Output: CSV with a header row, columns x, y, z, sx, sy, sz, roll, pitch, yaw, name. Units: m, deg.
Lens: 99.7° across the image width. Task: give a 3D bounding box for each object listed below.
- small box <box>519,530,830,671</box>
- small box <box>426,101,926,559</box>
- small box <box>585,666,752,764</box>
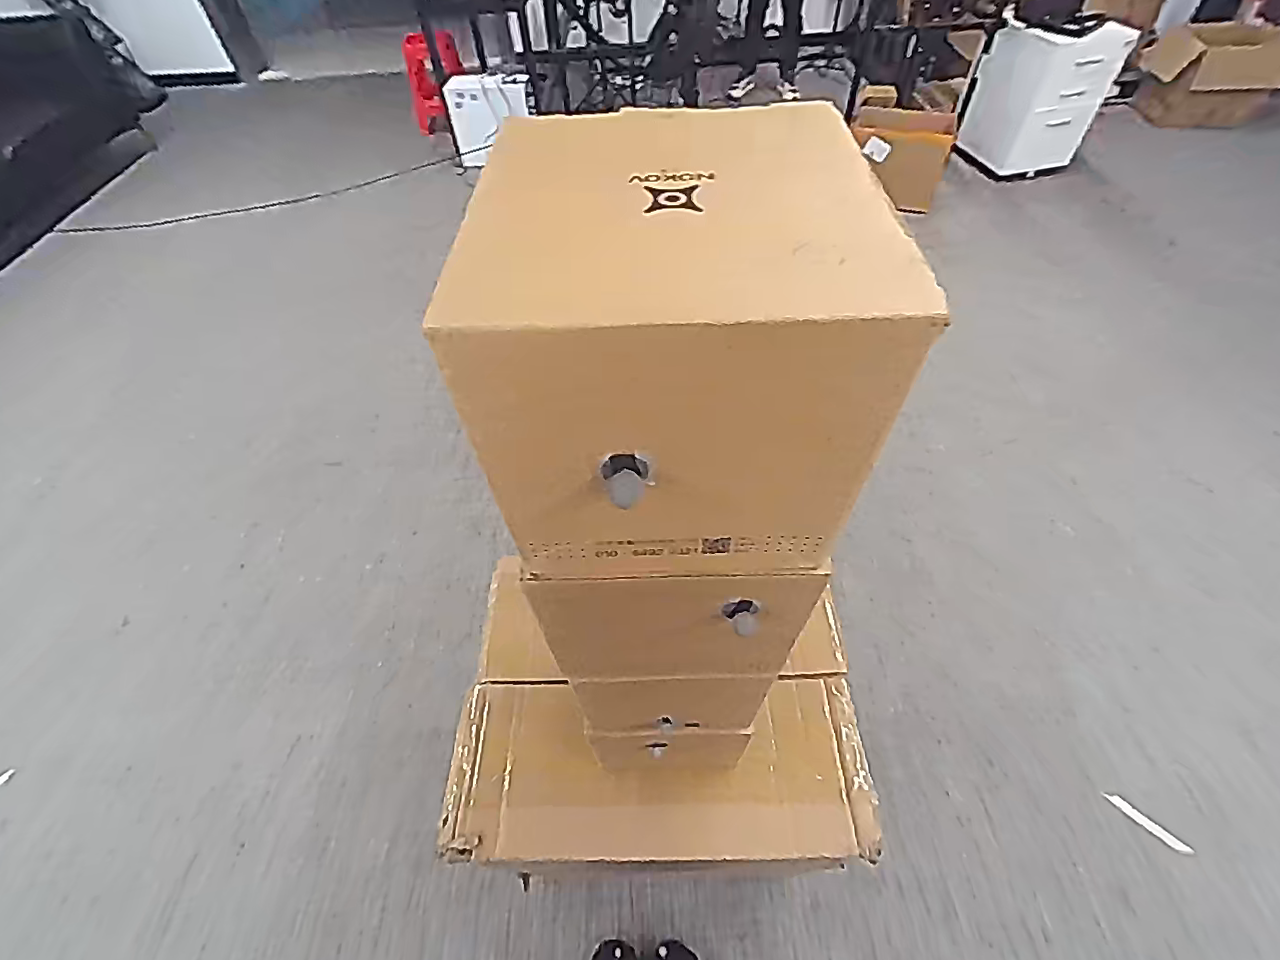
x,y,z,sx,sy,sz,roll,pitch,yaw,name
0.022,0.036,0.410,0.179,0.176,0.168,-2,52,2,small box
0.014,-0.068,0.285,0.168,0.176,0.179,-2,52,2,small box
0.034,0.244,0.664,0.179,0.176,0.168,-1,52,2,small box
